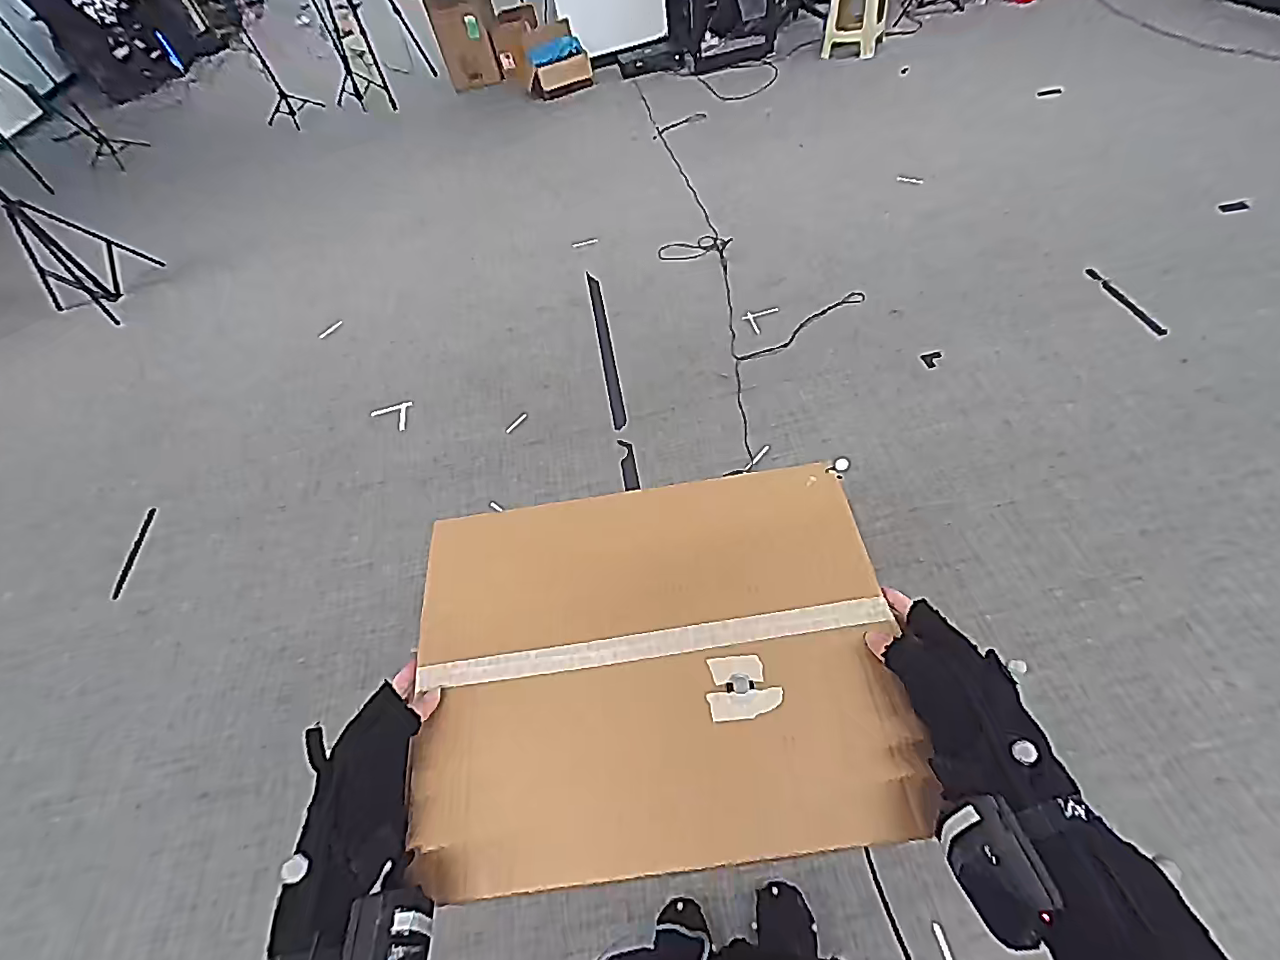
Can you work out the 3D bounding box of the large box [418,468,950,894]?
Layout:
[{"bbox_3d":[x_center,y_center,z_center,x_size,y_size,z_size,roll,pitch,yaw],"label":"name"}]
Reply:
[{"bbox_3d":[0.025,0.225,0.597,0.408,0.320,0.320,-8,57,0],"label":"large box"}]
